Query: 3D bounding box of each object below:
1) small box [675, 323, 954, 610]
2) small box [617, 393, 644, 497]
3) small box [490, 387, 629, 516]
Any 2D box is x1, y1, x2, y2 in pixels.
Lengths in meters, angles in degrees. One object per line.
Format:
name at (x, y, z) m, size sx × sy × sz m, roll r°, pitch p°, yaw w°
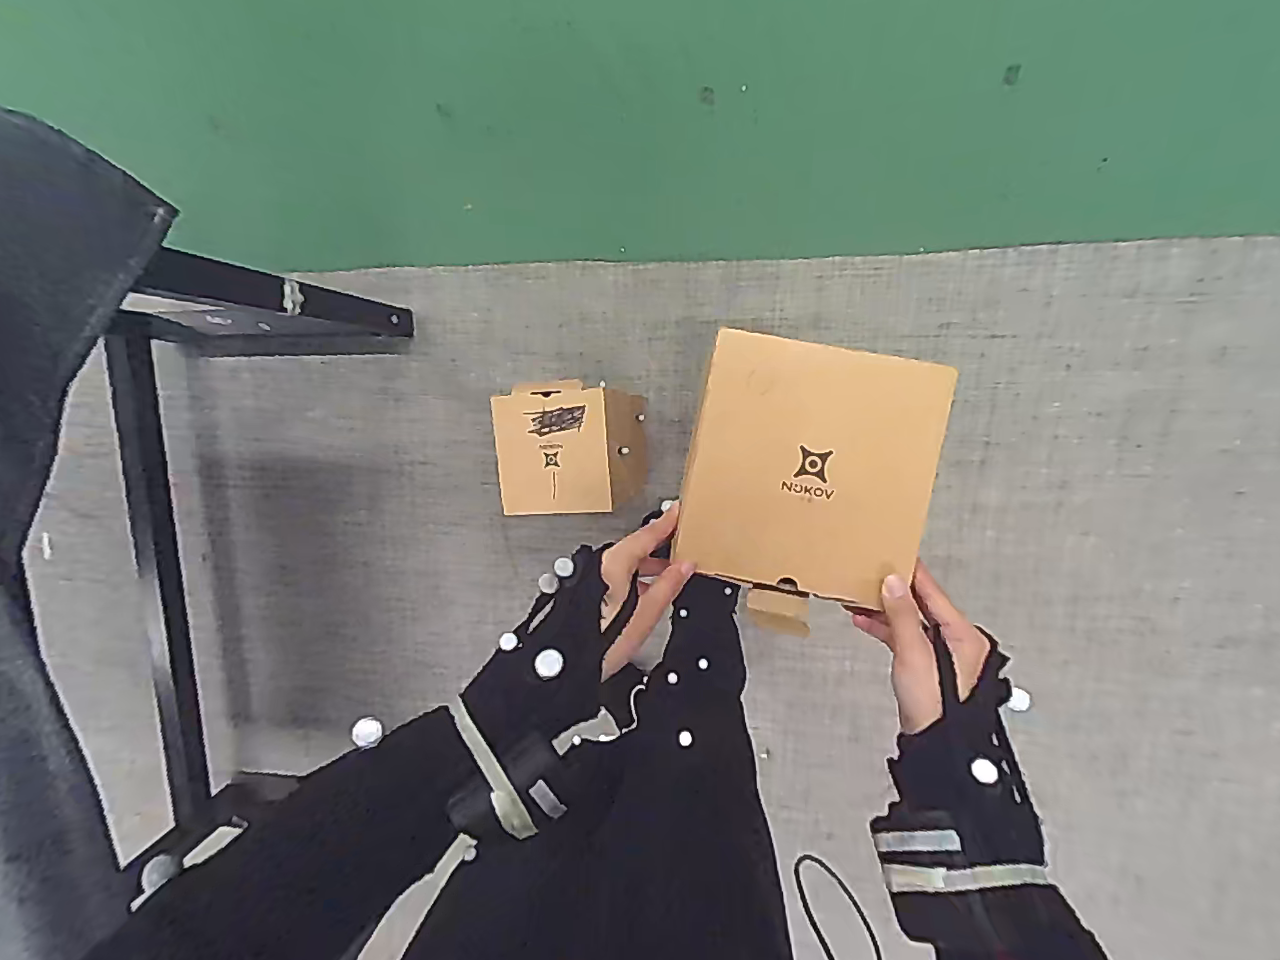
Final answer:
small box at (0.123, -0.012, 0.452) m, size 0.168 × 0.176 × 0.179 m, roll 10°, pitch 93°, yaw 3°
small box at (-0.088, -0.065, 0.993) m, size 0.168 × 0.176 × 0.179 m, roll -2°, pitch 99°, yaw 10°
small box at (-0.114, -0.048, 0.832) m, size 0.168 × 0.176 × 0.179 m, roll -3°, pitch 99°, yaw 10°
